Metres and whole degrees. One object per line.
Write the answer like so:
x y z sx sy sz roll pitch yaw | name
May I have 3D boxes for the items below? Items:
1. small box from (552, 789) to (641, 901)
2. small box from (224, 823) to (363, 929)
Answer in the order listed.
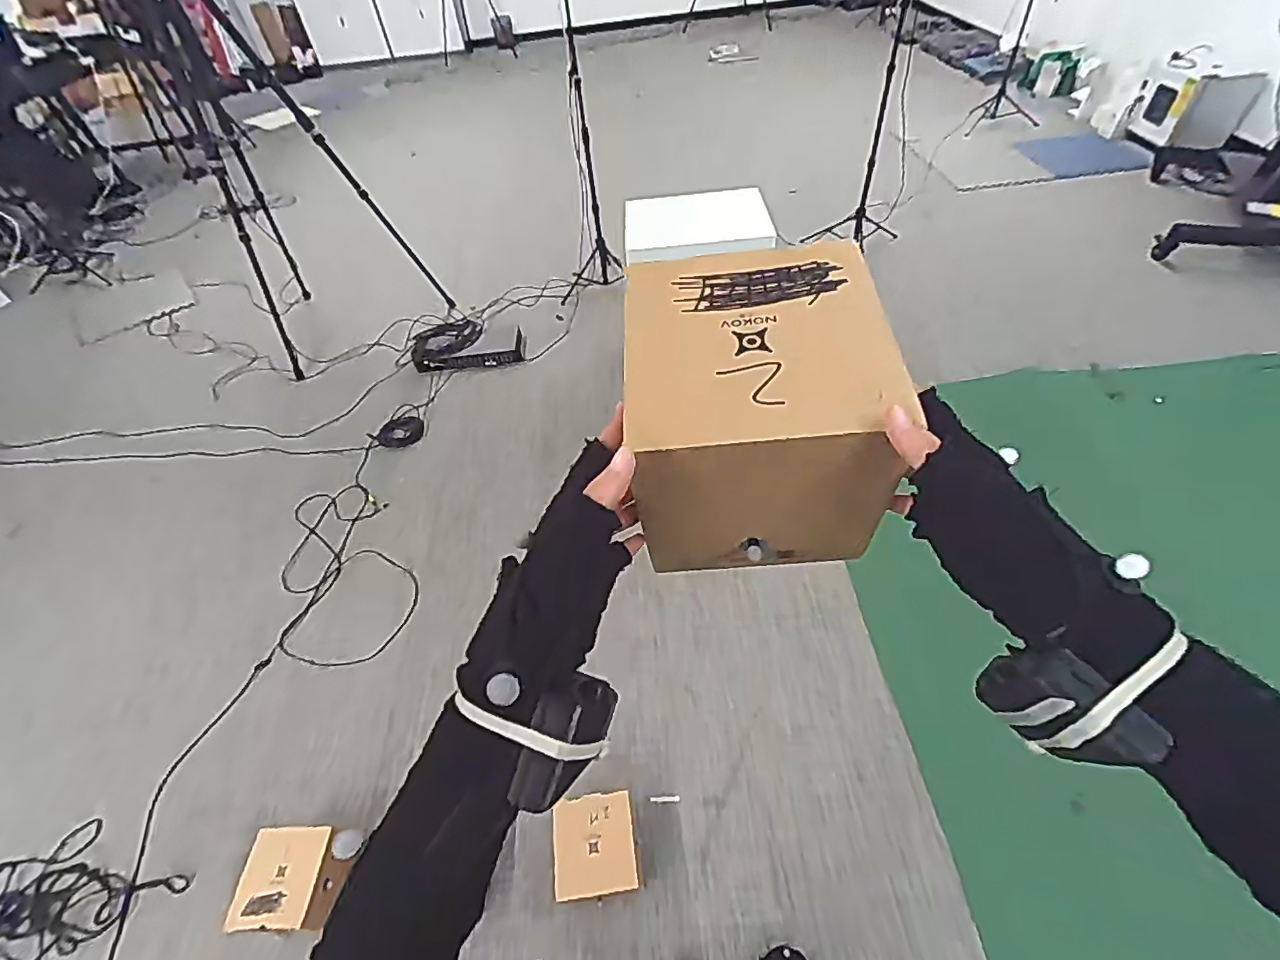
-0.092 0.794 1.171 0.168 0.176 0.179 -8 49 -2 | small box
-0.738 0.866 1.179 0.168 0.176 0.179 -4 48 3 | small box
